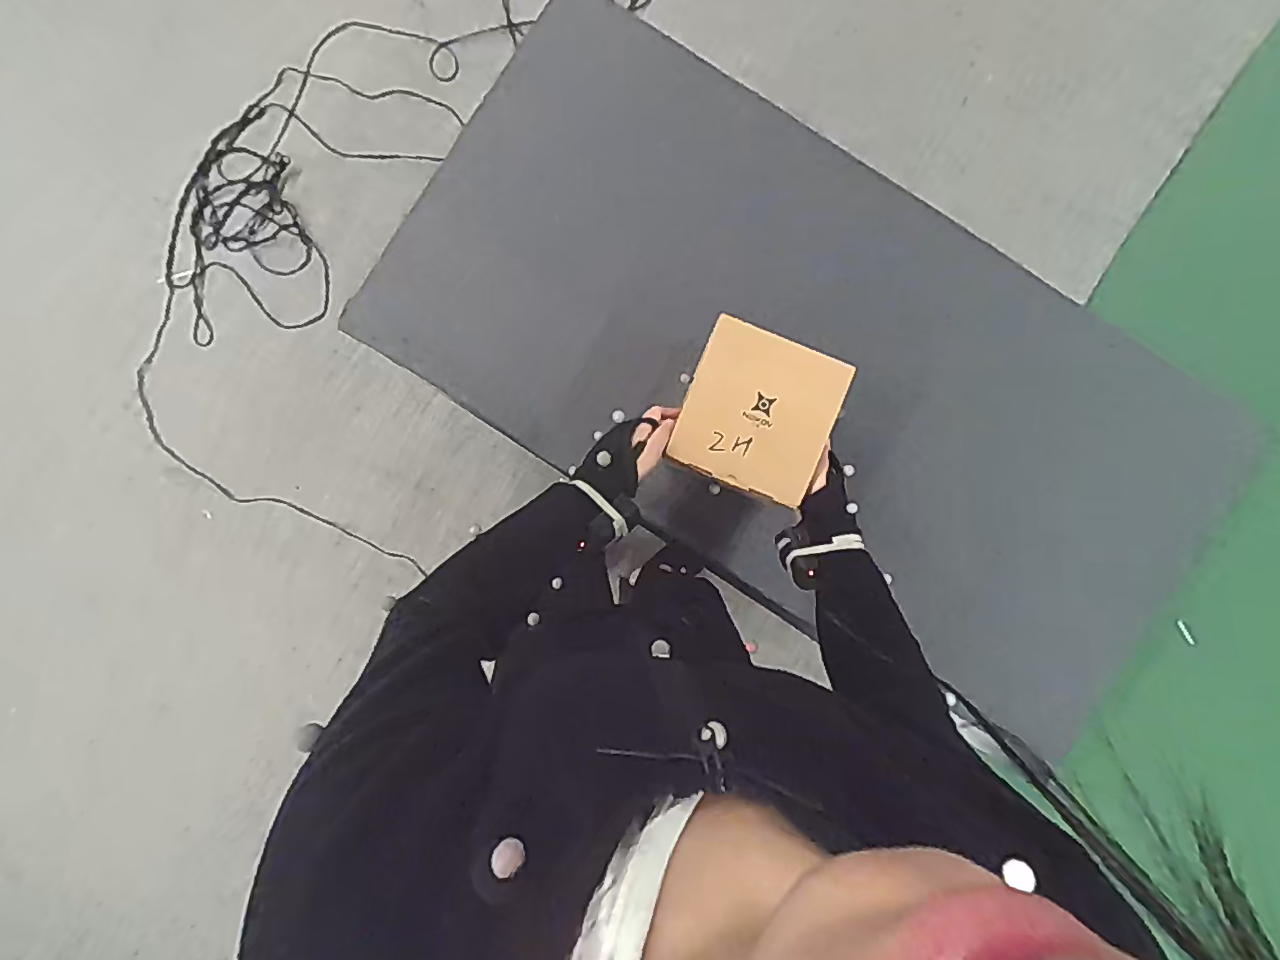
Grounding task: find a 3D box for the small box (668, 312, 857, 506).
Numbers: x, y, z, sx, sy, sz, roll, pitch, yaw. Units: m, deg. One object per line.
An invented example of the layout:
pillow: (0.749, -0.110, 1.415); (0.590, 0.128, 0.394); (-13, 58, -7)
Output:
small box: (0.137, -0.078, 0.680); (0.168, 0.176, 0.179); (21, 89, 1)
